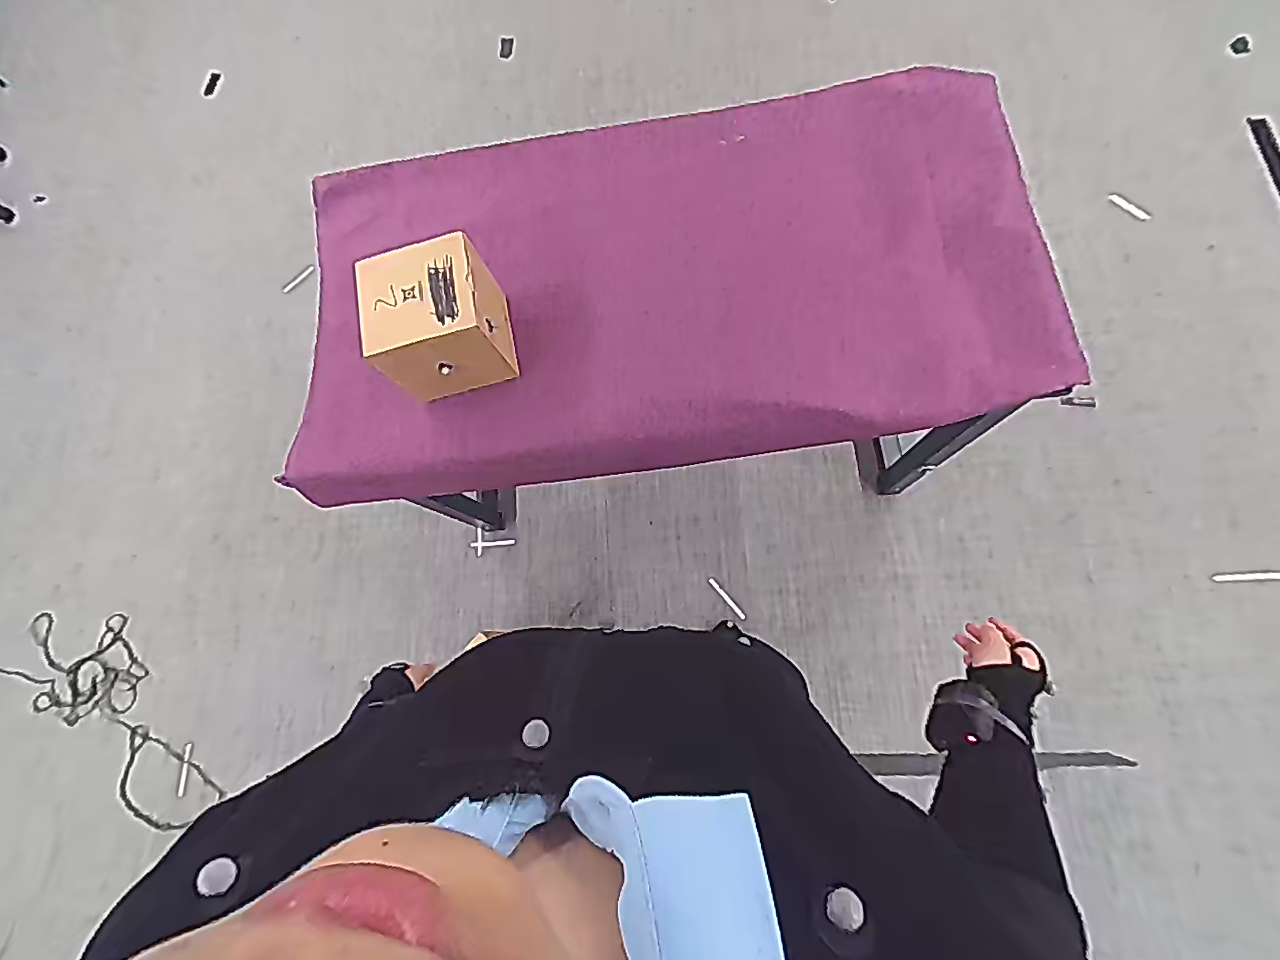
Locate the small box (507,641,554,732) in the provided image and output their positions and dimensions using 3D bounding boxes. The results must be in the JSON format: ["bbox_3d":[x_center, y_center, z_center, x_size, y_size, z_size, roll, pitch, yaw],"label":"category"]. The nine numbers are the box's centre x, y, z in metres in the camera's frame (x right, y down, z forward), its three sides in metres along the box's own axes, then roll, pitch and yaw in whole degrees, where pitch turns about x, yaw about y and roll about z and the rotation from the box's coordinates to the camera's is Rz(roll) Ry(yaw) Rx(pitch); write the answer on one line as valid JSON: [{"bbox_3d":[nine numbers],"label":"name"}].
[{"bbox_3d":[-0.343,0.531,1.420,0.168,0.176,0.179,17,78,11],"label":"small box"}]
